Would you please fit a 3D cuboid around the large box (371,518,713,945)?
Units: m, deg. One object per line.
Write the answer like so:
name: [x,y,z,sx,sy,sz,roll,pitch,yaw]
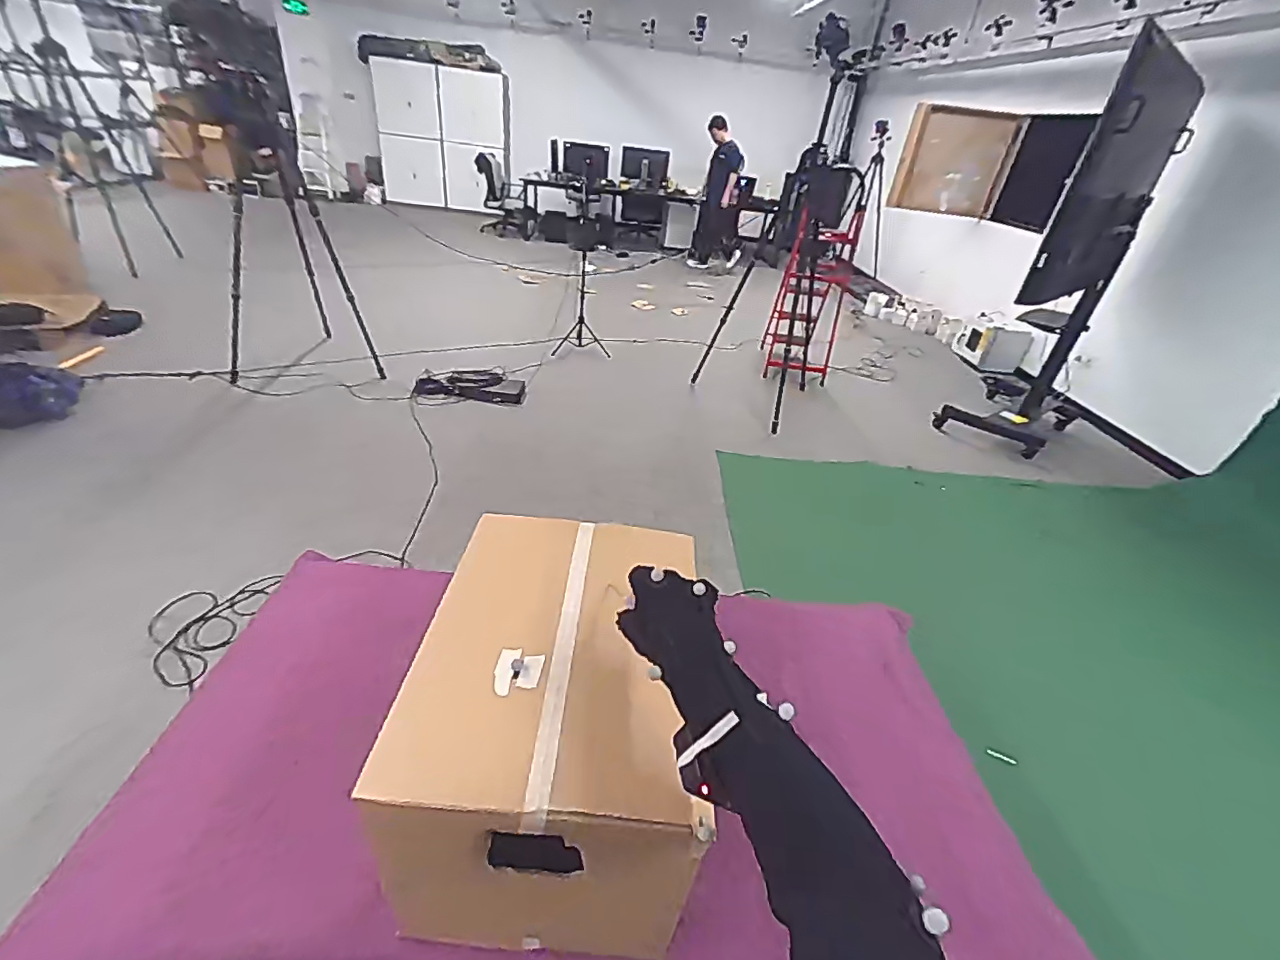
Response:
large box: [-0.101,0.306,0.722,0.320,0.320,0.408,7,34,-2]
